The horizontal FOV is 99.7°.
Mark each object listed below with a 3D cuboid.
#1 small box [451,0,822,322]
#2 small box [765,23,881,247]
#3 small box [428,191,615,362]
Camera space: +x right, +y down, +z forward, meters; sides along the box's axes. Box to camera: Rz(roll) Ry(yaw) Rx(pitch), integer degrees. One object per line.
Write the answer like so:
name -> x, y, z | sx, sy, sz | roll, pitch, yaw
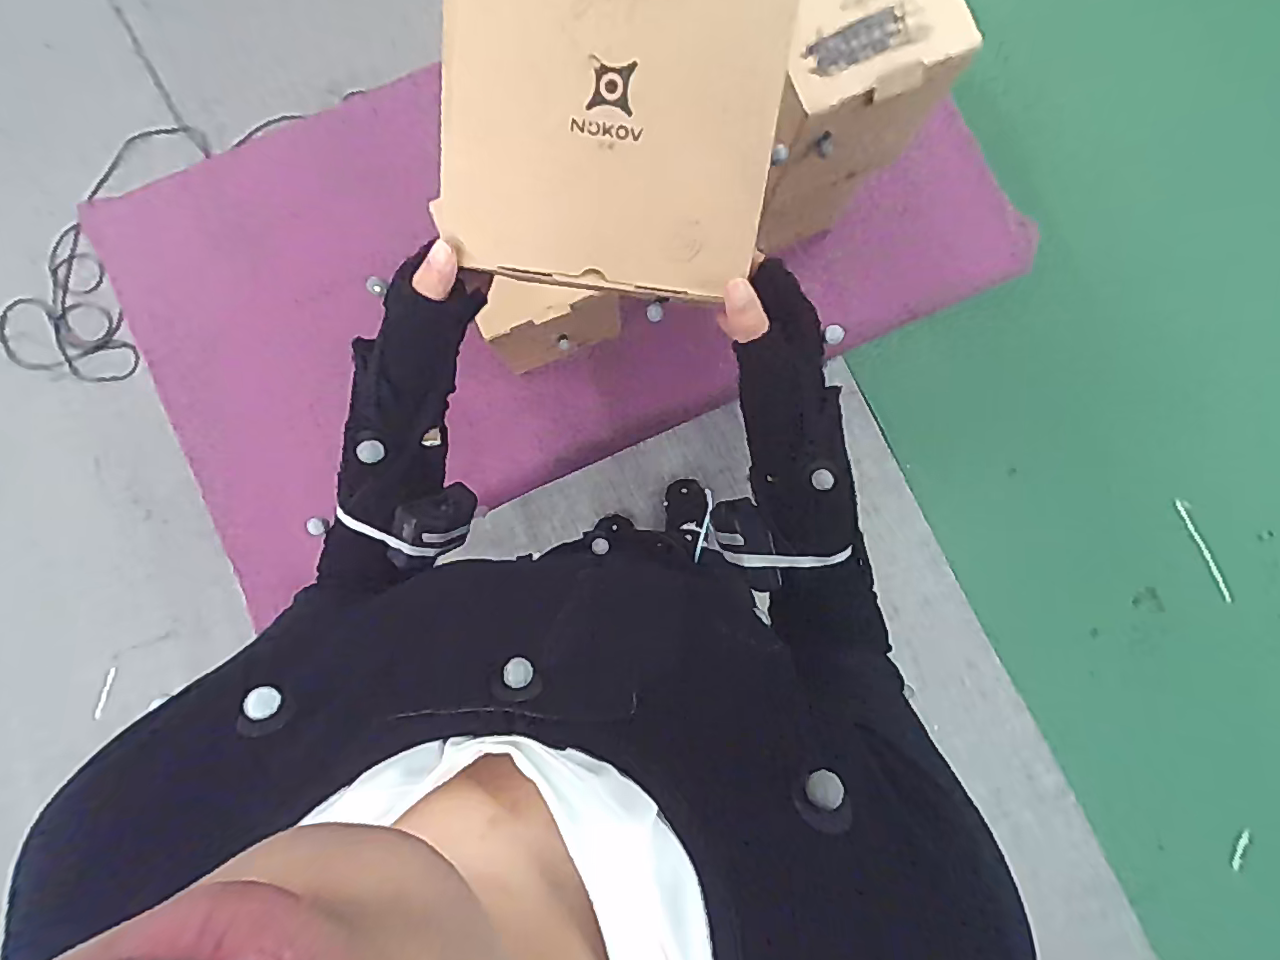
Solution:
small box -> -0.004, -0.204, 0.335 | 0.168, 0.176, 0.179 | 9, 108, -1
small box -> 0.170, -0.417, 0.698 | 0.168, 0.176, 0.179 | -21, 89, -3
small box -> -0.135, -0.264, 0.690 | 0.168, 0.176, 0.179 | -22, 89, -2
